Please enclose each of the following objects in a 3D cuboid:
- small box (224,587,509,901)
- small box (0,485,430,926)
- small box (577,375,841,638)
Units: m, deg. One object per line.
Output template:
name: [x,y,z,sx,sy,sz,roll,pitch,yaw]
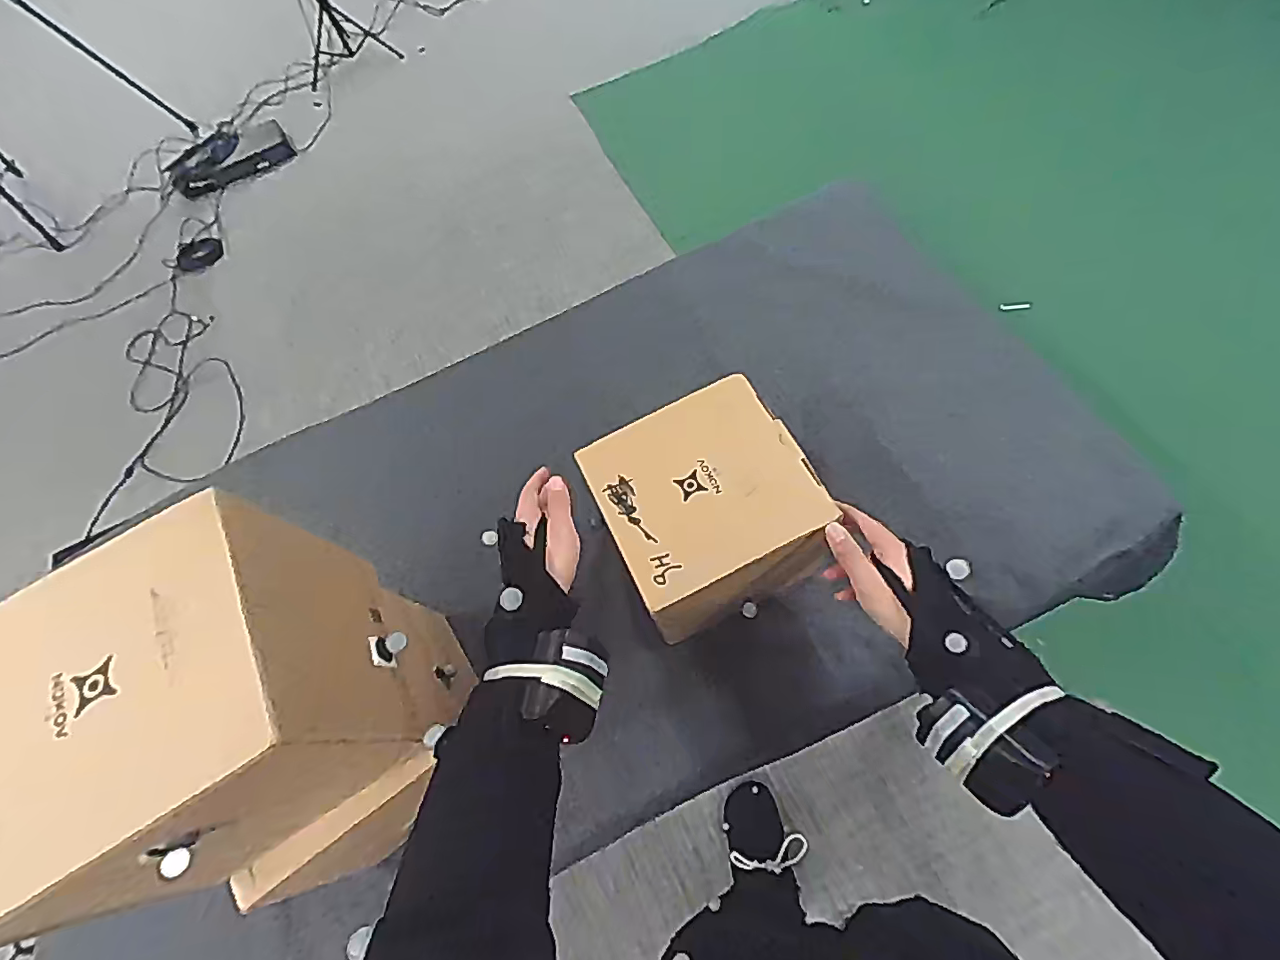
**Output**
small box: [-0.249,0.221,0.490,0.168,0.176,0.179,-36,66,-8]
small box: [-0.274,0.139,0.351,0.179,0.176,0.168,-32,66,-7]
small box: [0.062,0.036,0.530,0.179,0.176,0.168,-26,64,-3]
